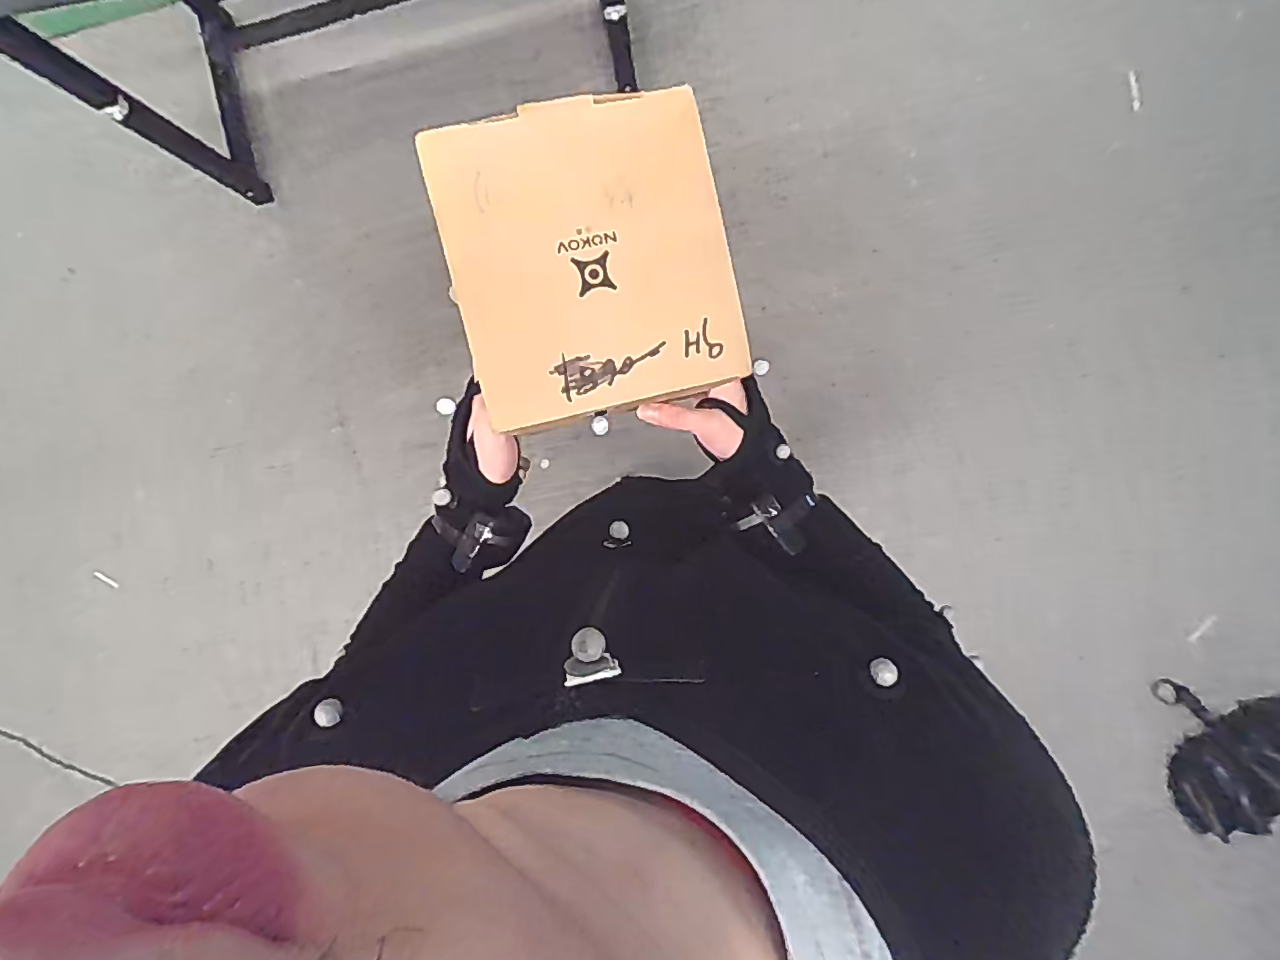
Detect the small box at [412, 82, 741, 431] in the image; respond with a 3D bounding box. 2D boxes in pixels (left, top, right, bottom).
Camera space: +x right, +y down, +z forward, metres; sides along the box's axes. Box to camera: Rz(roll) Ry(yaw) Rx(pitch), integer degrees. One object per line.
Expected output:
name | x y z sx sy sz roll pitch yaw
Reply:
small box | -0.042 -0.139 0.400 0.168 0.176 0.179 -14 95 -4
